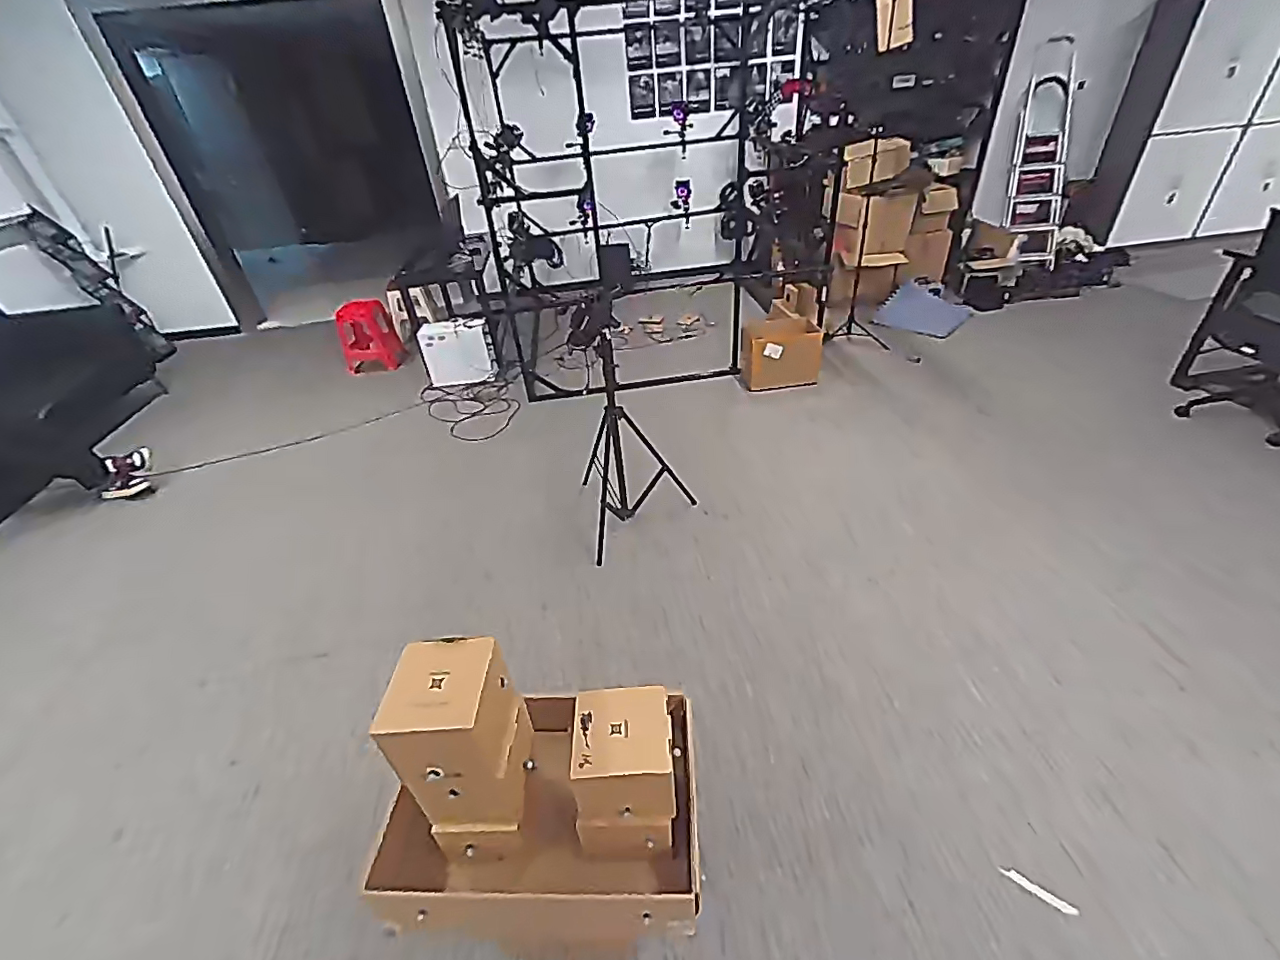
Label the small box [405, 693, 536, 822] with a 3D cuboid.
[{"bbox_3d":[-0.309,0.527,1.029,0.179,0.176,0.168,-2,35,3],"label":"small box"}]

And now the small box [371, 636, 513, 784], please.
[{"bbox_3d":[-0.326,0.395,0.934,0.168,0.176,0.179,-4,34,2],"label":"small box"}]

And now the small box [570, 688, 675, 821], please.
[{"bbox_3d":[-0.027,0.511,1.008,0.179,0.176,0.168,-4,36,1],"label":"small box"}]

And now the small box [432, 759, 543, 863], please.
[{"bbox_3d":[-0.302,0.666,1.118,0.168,0.176,0.179,-3,35,2],"label":"small box"}]
